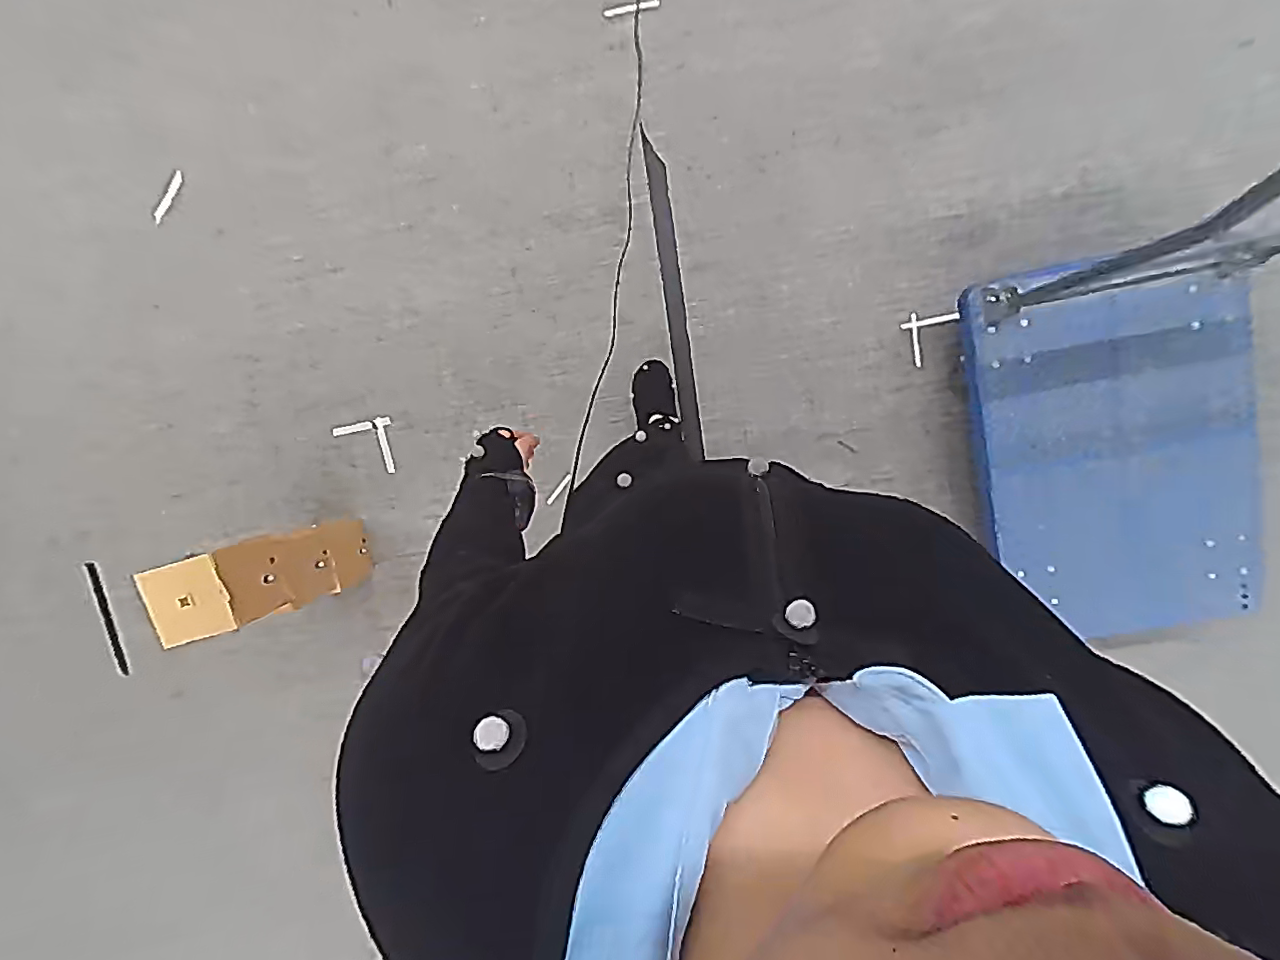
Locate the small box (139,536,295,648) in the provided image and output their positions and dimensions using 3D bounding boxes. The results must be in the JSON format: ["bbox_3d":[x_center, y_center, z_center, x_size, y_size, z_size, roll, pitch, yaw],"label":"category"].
[{"bbox_3d":[-0.901,0.235,1.168,0.179,0.176,0.168,-16,96,5],"label":"small box"}]

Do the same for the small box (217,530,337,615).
[{"bbox_3d":[-0.888,0.226,1.331,0.179,0.176,0.168,-5,98,4],"label":"small box"}]
